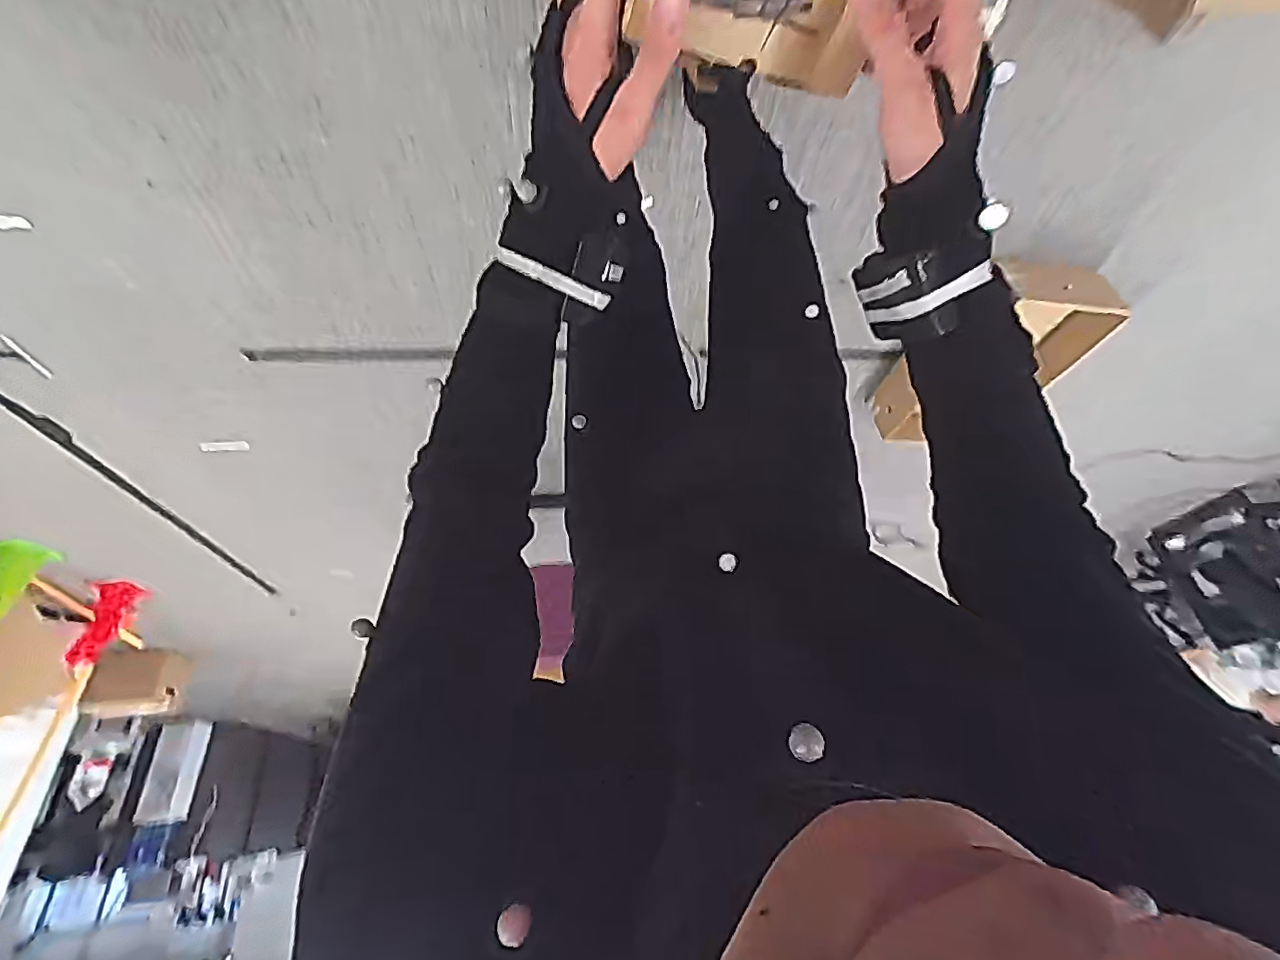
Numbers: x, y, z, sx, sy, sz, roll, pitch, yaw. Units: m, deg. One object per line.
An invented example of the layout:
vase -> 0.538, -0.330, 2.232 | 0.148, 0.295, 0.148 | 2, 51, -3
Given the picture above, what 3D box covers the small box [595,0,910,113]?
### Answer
small box -> 0.062, -0.346, 0.290 | 0.168, 0.176, 0.179 | -8, 149, -27
